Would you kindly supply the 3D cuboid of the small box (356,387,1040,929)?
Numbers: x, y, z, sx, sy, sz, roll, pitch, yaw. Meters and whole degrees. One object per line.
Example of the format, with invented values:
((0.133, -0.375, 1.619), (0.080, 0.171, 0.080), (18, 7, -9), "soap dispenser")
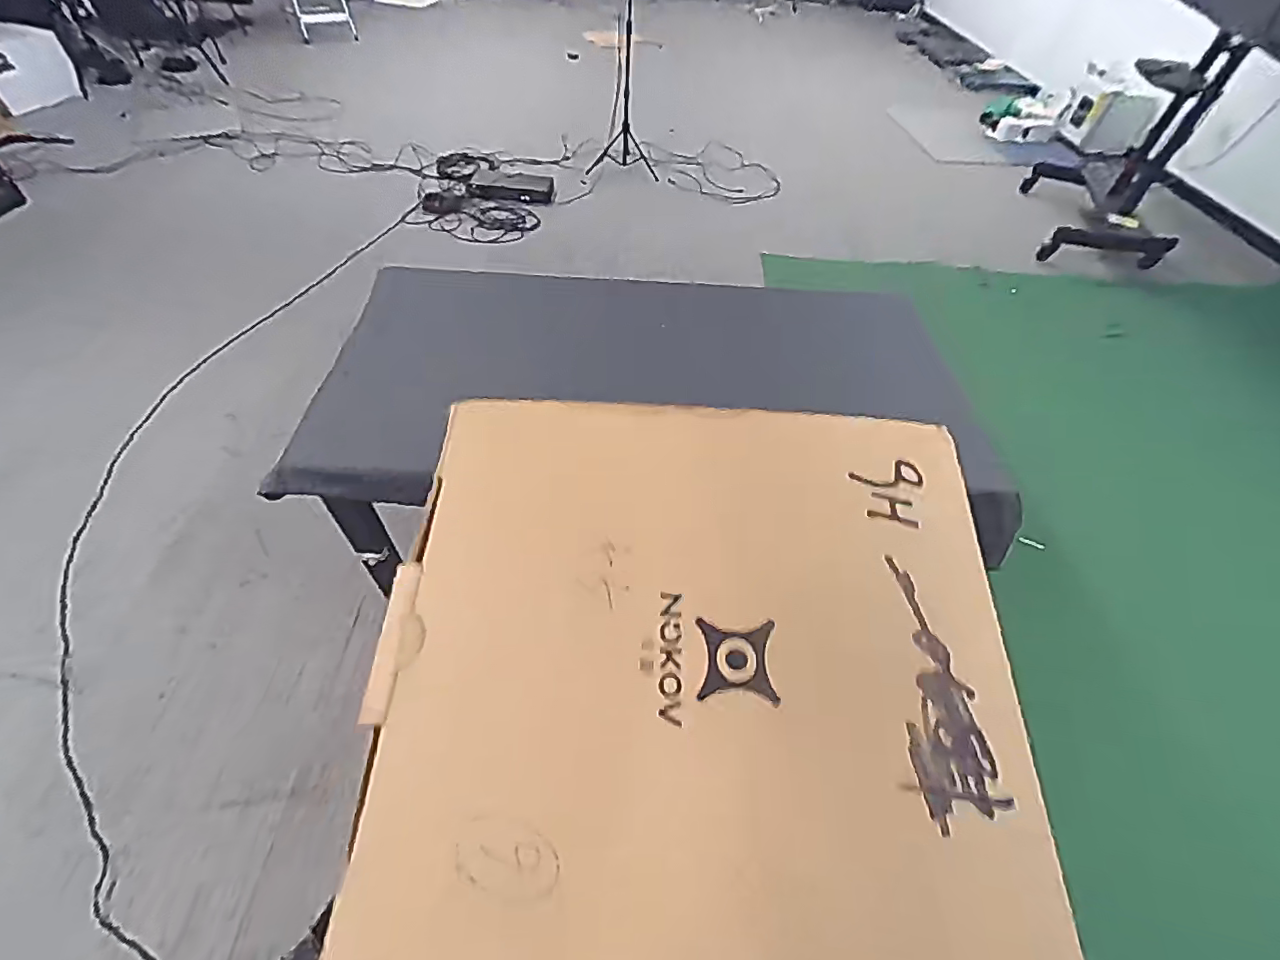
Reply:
((0.013, 0.077, 0.242), (0.179, 0.176, 0.168), (1, 62, -3), "small box")
